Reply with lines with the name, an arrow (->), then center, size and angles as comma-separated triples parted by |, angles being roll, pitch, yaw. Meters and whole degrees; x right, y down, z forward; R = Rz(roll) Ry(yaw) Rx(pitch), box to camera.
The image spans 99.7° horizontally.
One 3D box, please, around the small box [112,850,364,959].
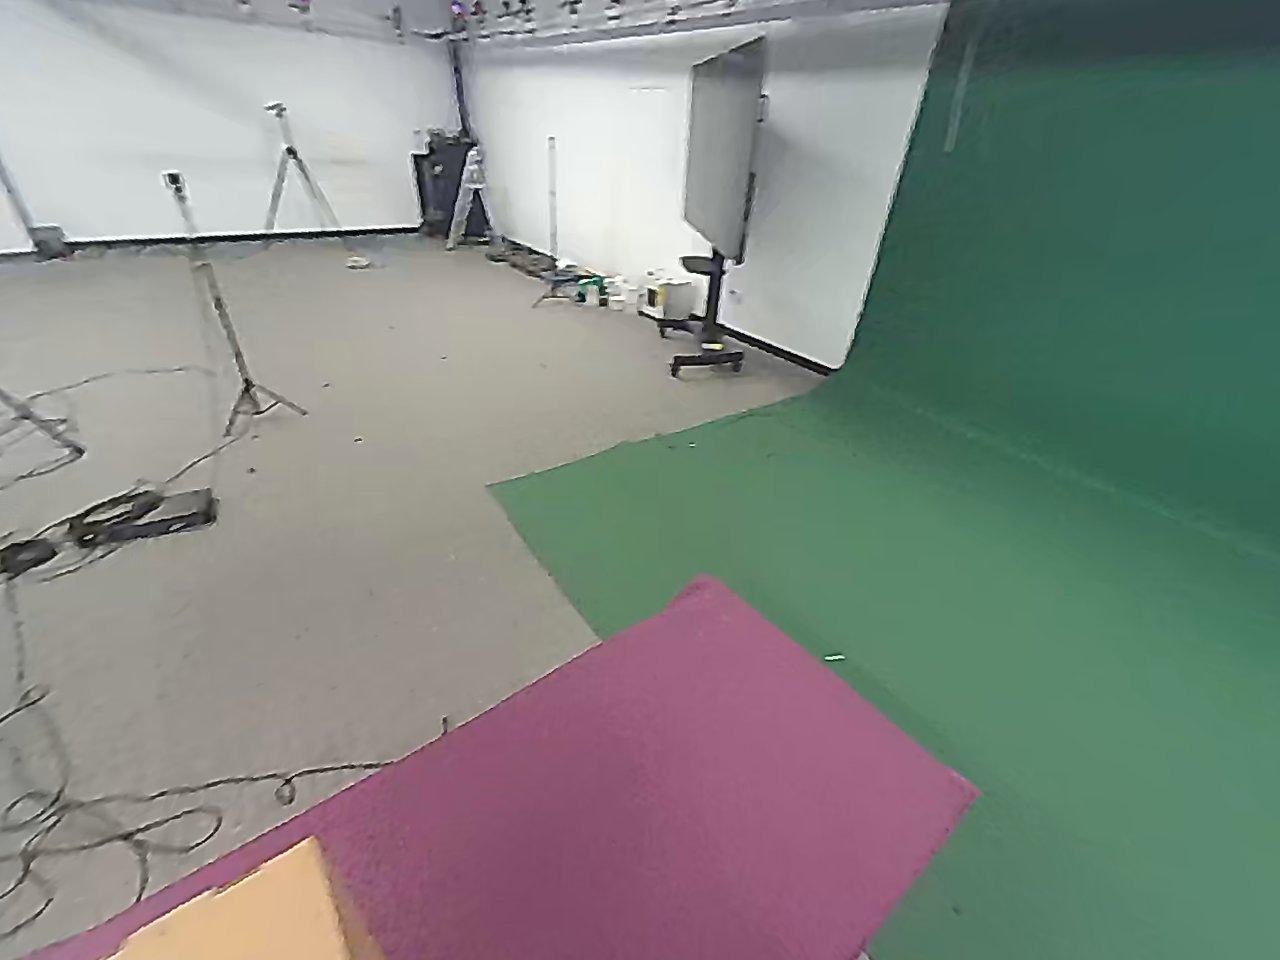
small box -> -0.255, 0.394, 0.333 | 0.168, 0.176, 0.179 | -21, 40, -33
